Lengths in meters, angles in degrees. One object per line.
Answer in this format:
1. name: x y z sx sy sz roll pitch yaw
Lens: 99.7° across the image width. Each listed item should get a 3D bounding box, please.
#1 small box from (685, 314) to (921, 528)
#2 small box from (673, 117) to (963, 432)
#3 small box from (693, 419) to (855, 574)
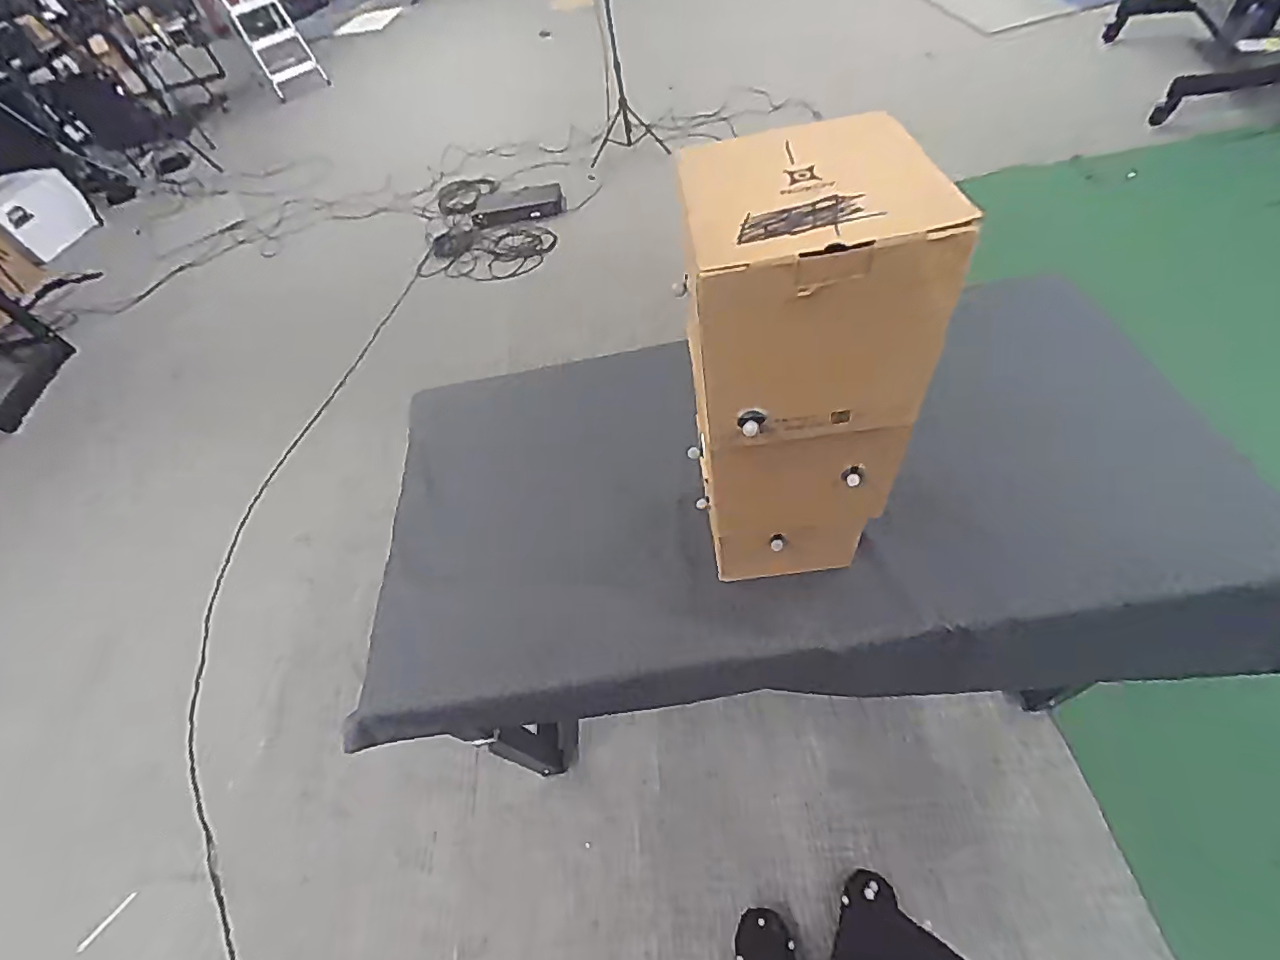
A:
1. small box: 0.150 -0.071 0.558 0.179 0.176 0.168 -11 53 3
2. small box: 0.122 -0.153 0.438 0.168 0.176 0.179 -7 52 5
3. small box: 0.176 0.009 0.720 0.179 0.176 0.168 -10 52 3
